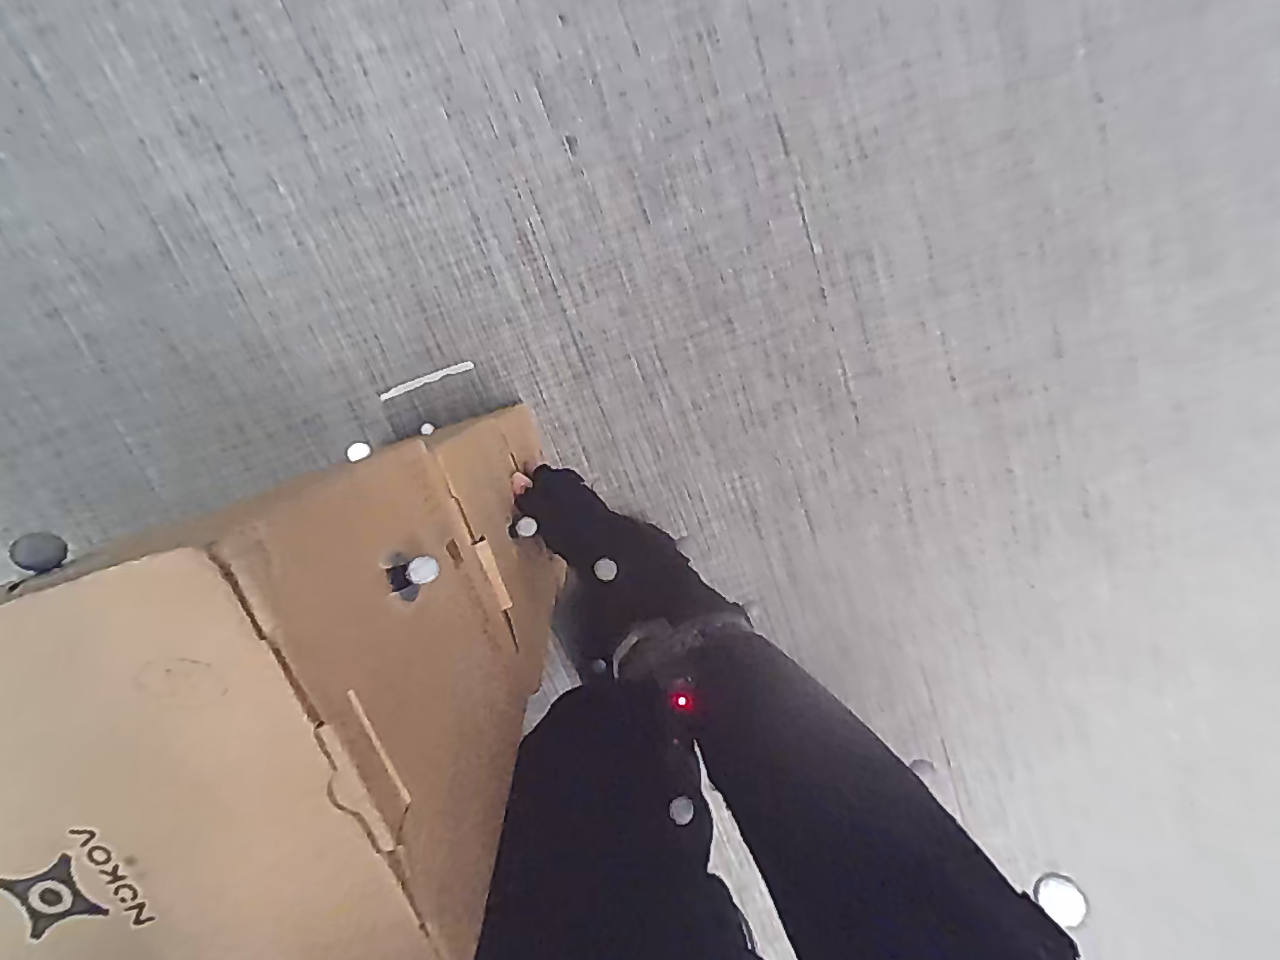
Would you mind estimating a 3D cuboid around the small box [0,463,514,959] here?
[{"bbox_3d":[-0.168,0.104,0.239,0.179,0.176,0.168,-19,103,1],"label":"small box"}]
